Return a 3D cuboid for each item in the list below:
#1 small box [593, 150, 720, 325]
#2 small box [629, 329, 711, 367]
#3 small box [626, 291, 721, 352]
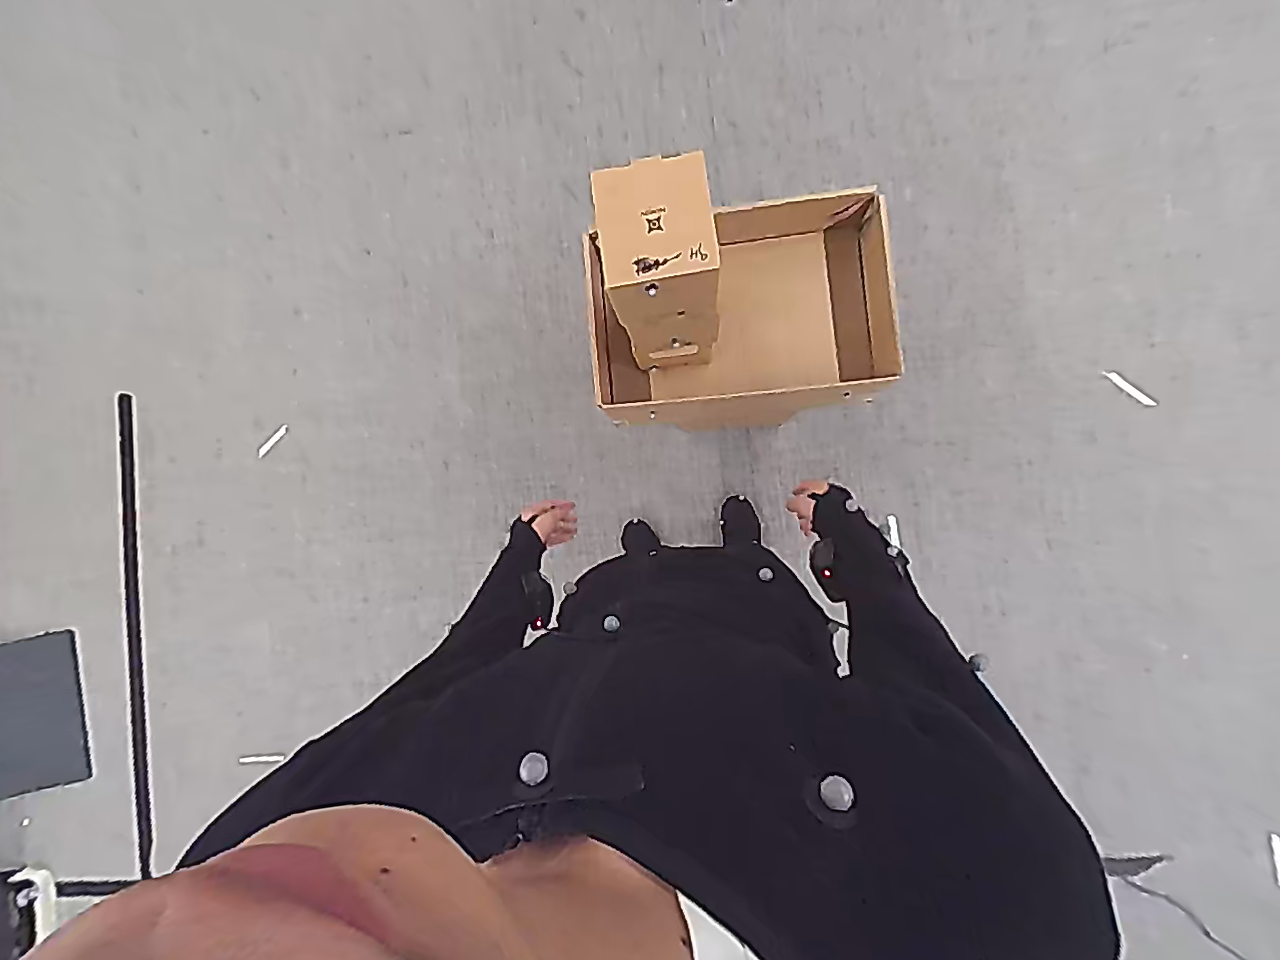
[{"bbox_3d":[0.029,-0.362,0.835,0.168,0.176,0.179,-8,86,6],"label":"small box"},{"bbox_3d":[0.064,-0.350,1.162,0.168,0.176,0.179,-6,86,6],"label":"small box"},{"bbox_3d":[0.054,-0.354,0.998,0.168,0.176,0.179,-8,87,6],"label":"small box"}]
